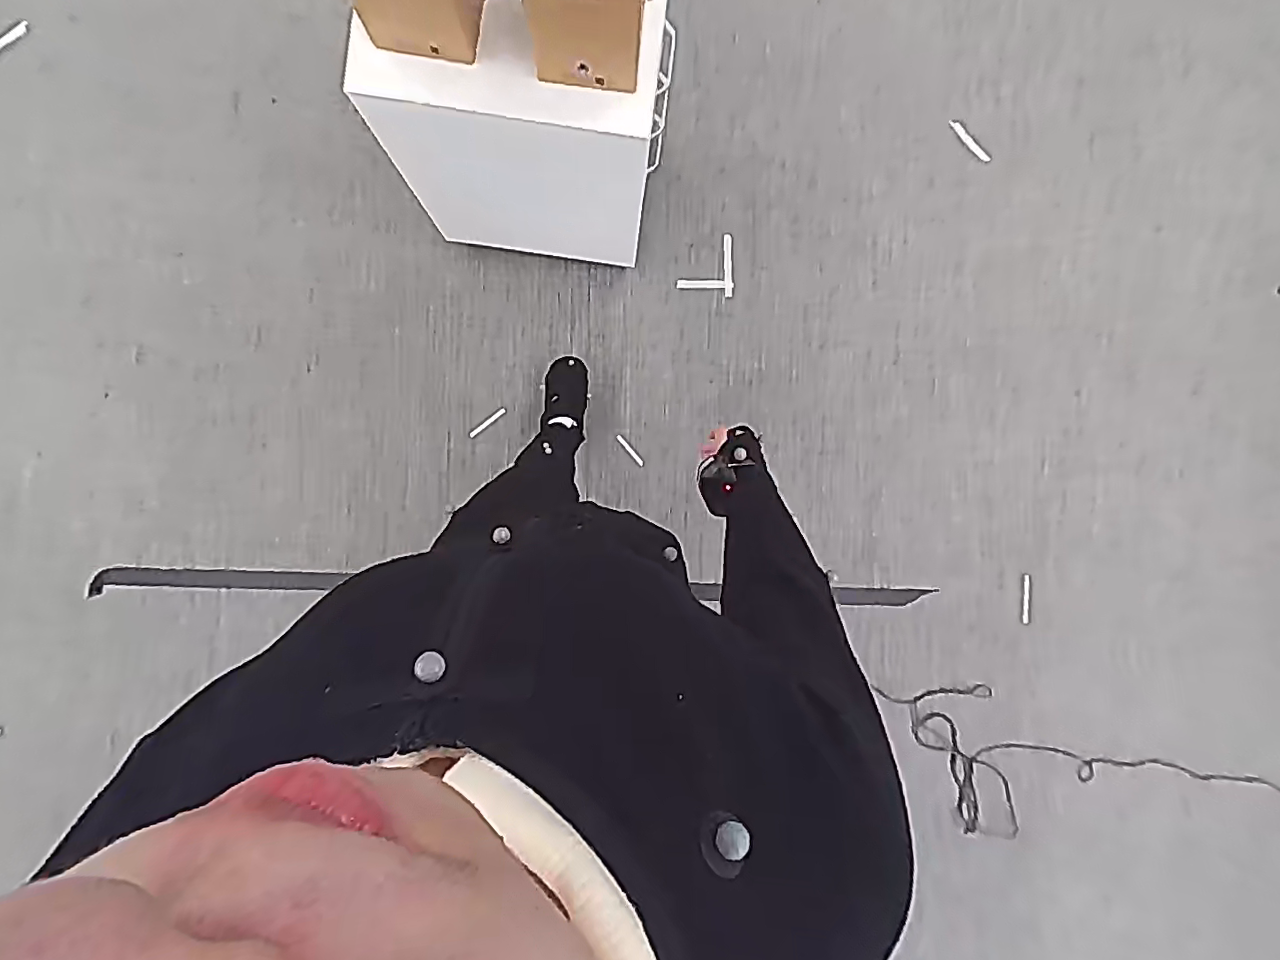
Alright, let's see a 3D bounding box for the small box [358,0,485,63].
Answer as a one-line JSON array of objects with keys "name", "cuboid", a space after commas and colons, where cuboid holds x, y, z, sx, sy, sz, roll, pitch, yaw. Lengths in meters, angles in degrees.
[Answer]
[{"name": "small box", "cuboid": [-0.332, -0.778, 0.800, 0.168, 0.176, 0.179, 8, 89, -3]}]
